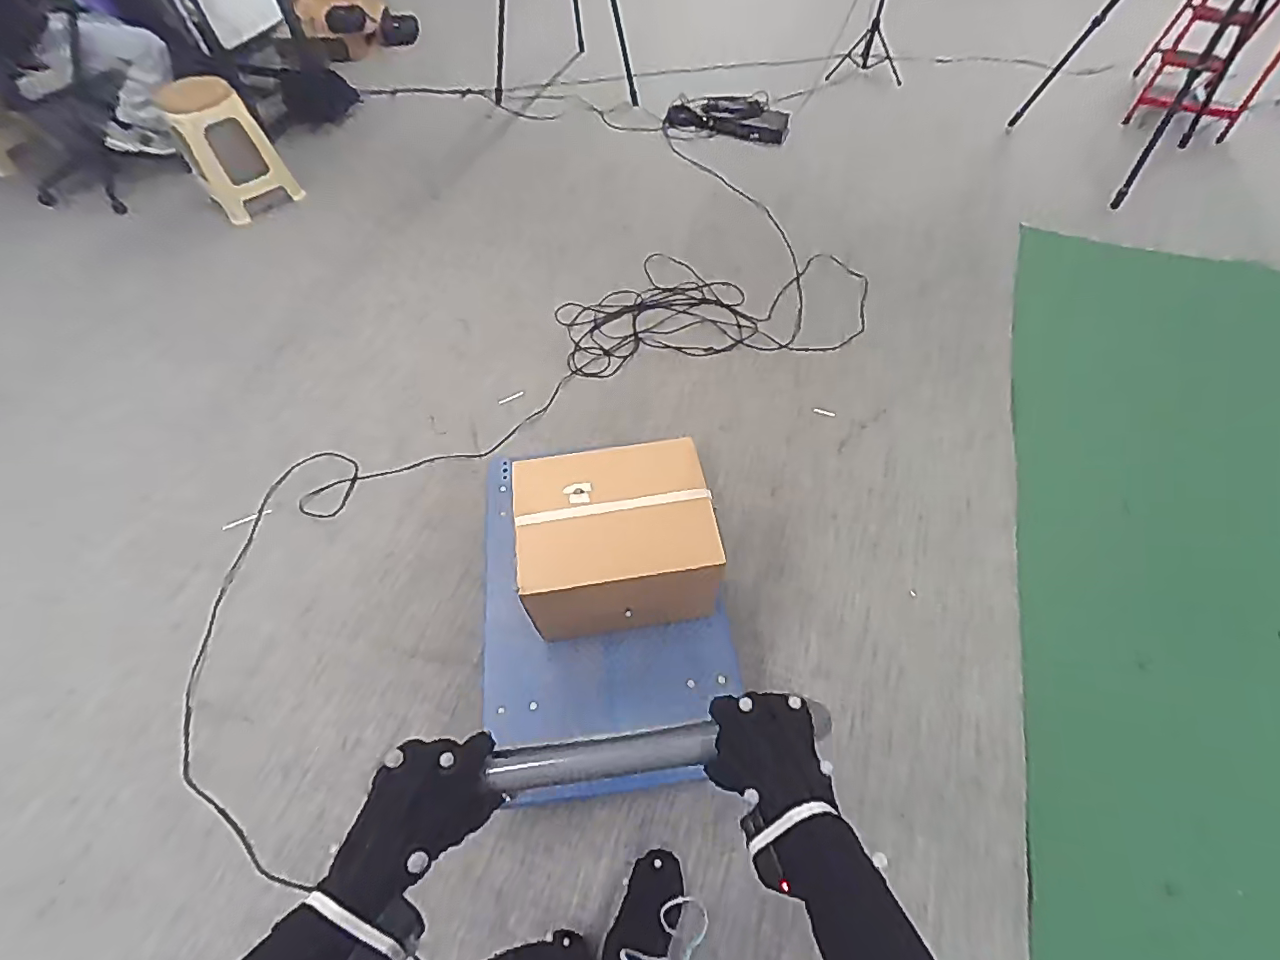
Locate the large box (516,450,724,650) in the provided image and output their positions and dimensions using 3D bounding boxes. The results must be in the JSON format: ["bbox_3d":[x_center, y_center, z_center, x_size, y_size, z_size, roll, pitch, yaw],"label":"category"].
[{"bbox_3d":[-0.047,0.169,1.247,0.408,0.320,0.320,-9,56,-3],"label":"large box"}]
